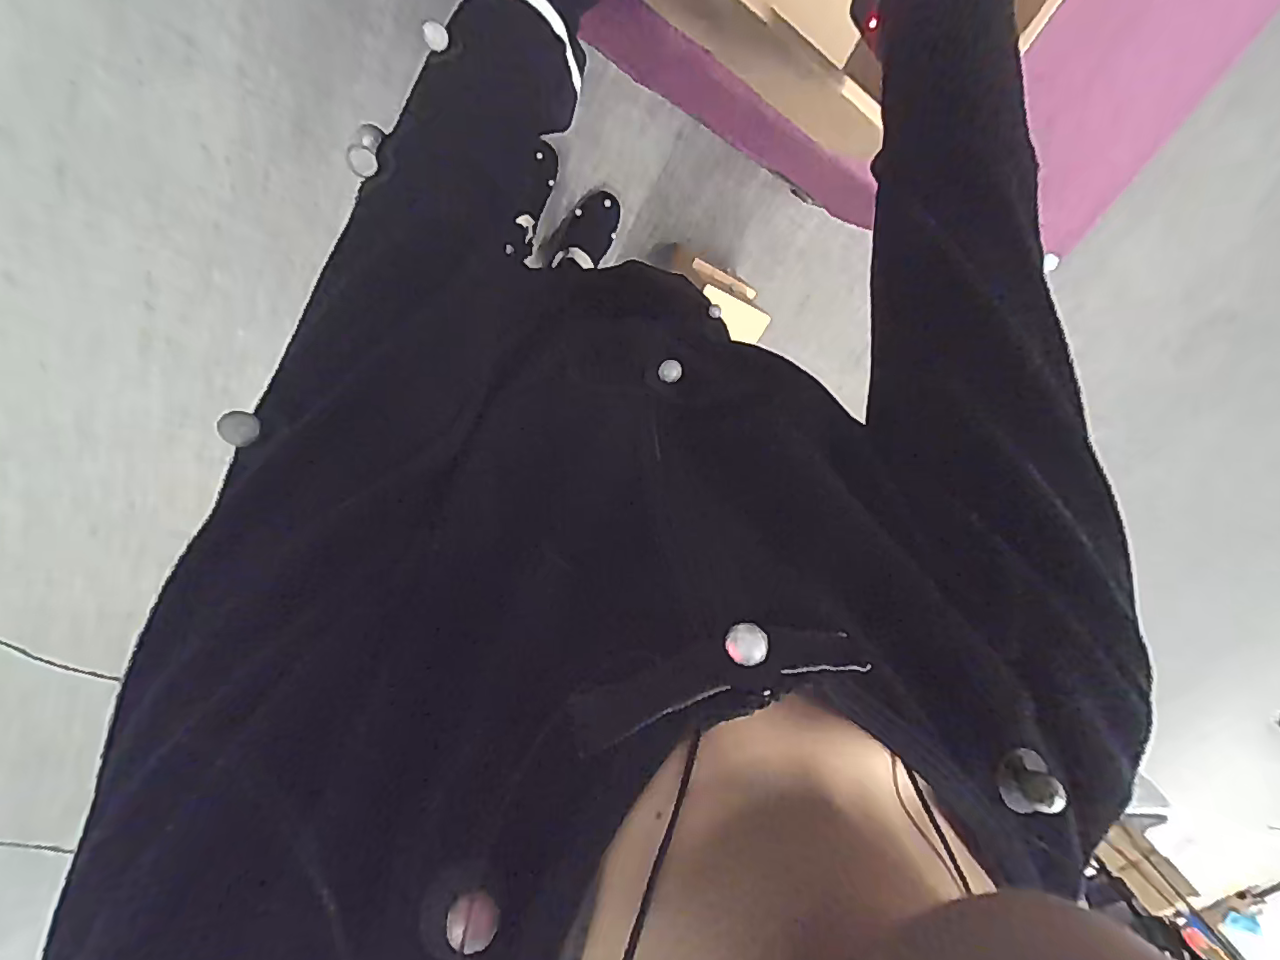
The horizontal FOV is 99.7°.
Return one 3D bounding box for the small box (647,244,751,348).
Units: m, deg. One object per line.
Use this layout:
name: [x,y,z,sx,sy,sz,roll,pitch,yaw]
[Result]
small box: [0.138,-0.457,1.330,0.179,0.176,0.168,20,119,-22]
